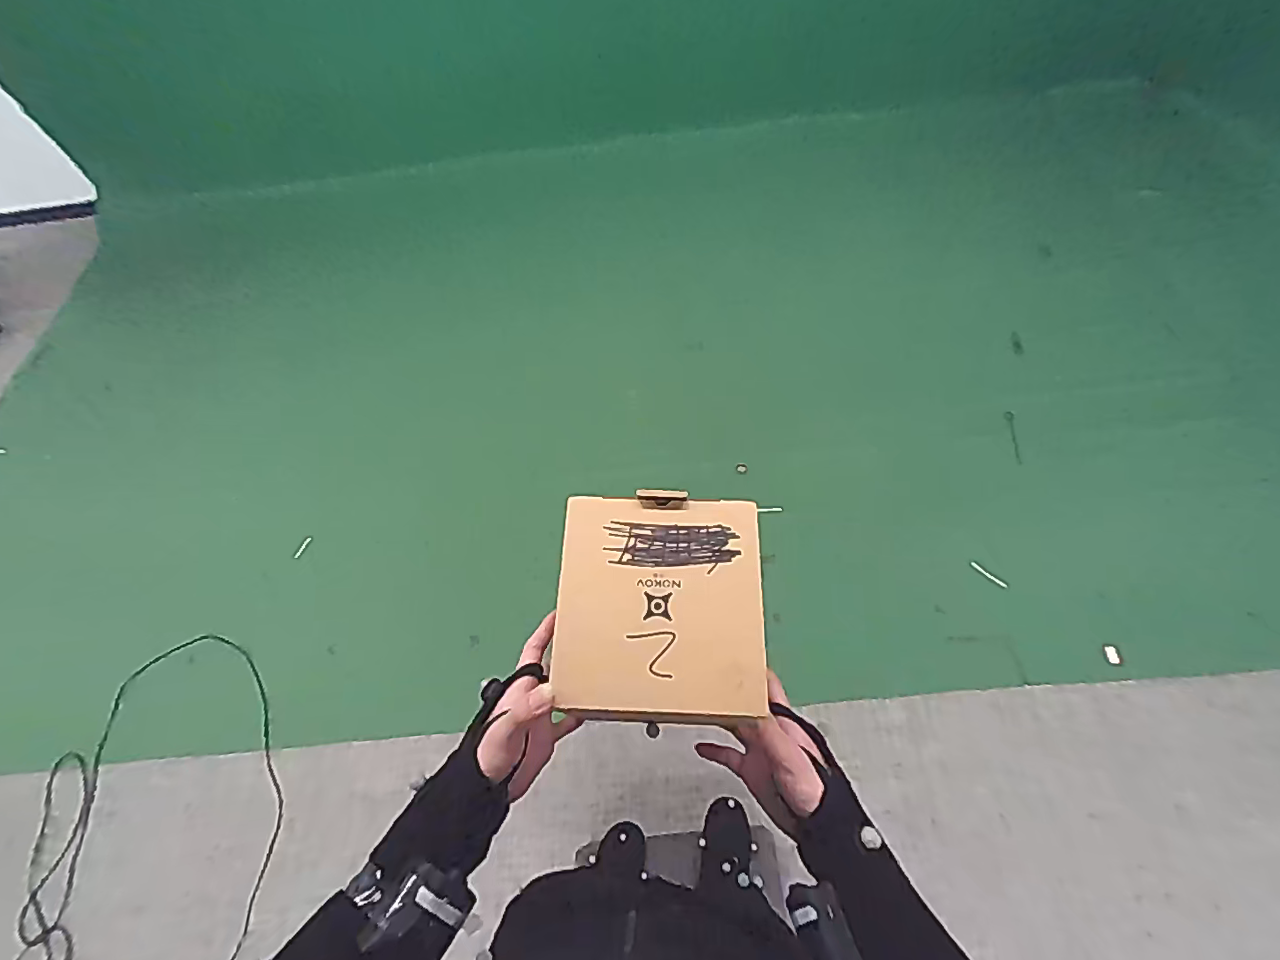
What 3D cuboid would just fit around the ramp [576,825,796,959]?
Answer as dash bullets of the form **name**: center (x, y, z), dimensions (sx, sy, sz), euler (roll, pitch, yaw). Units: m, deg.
- **ramp**: center (0.136, 1.334, 1.148), dimensions (0.509, 0.206, 0.991), euler (-8, 61, 1)
